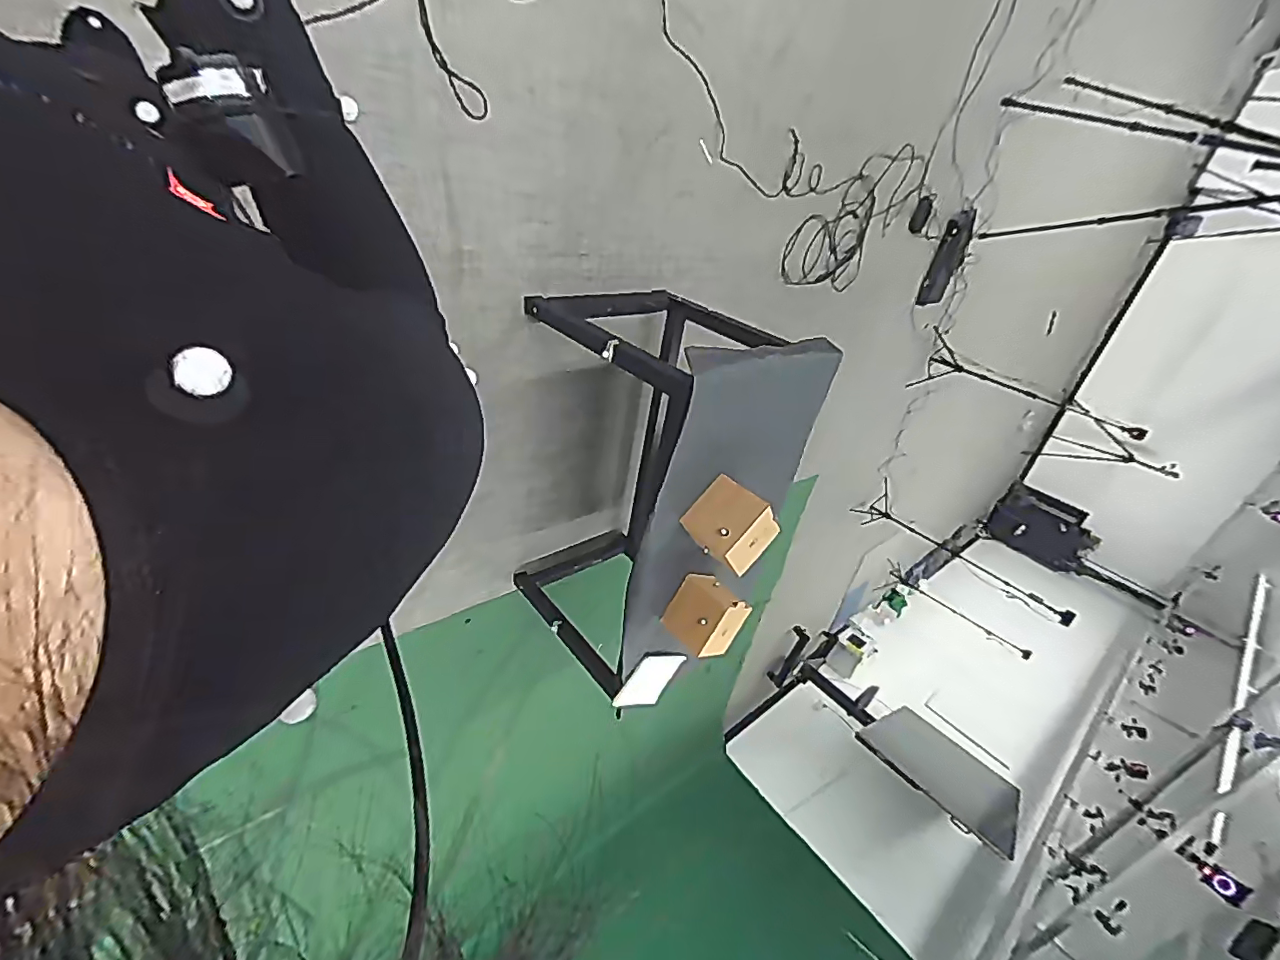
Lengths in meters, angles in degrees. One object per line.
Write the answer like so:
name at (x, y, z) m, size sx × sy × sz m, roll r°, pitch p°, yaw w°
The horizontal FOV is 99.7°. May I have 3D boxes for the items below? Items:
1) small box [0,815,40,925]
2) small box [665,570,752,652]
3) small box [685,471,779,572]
small box at (-1.608, 0.974, 1.324) m, size 0.179 × 0.176 × 0.168 m, roll 2°, pitch 117°, yaw -46°
small box at (0.200, 0.397, 1.643) m, size 0.168 × 0.176 × 0.179 m, roll 19°, pitch 103°, yaw -52°
small box at (0.242, 0.110, 1.456) m, size 0.179 × 0.176 × 0.168 m, roll -48°, pitch 144°, yaw -7°
